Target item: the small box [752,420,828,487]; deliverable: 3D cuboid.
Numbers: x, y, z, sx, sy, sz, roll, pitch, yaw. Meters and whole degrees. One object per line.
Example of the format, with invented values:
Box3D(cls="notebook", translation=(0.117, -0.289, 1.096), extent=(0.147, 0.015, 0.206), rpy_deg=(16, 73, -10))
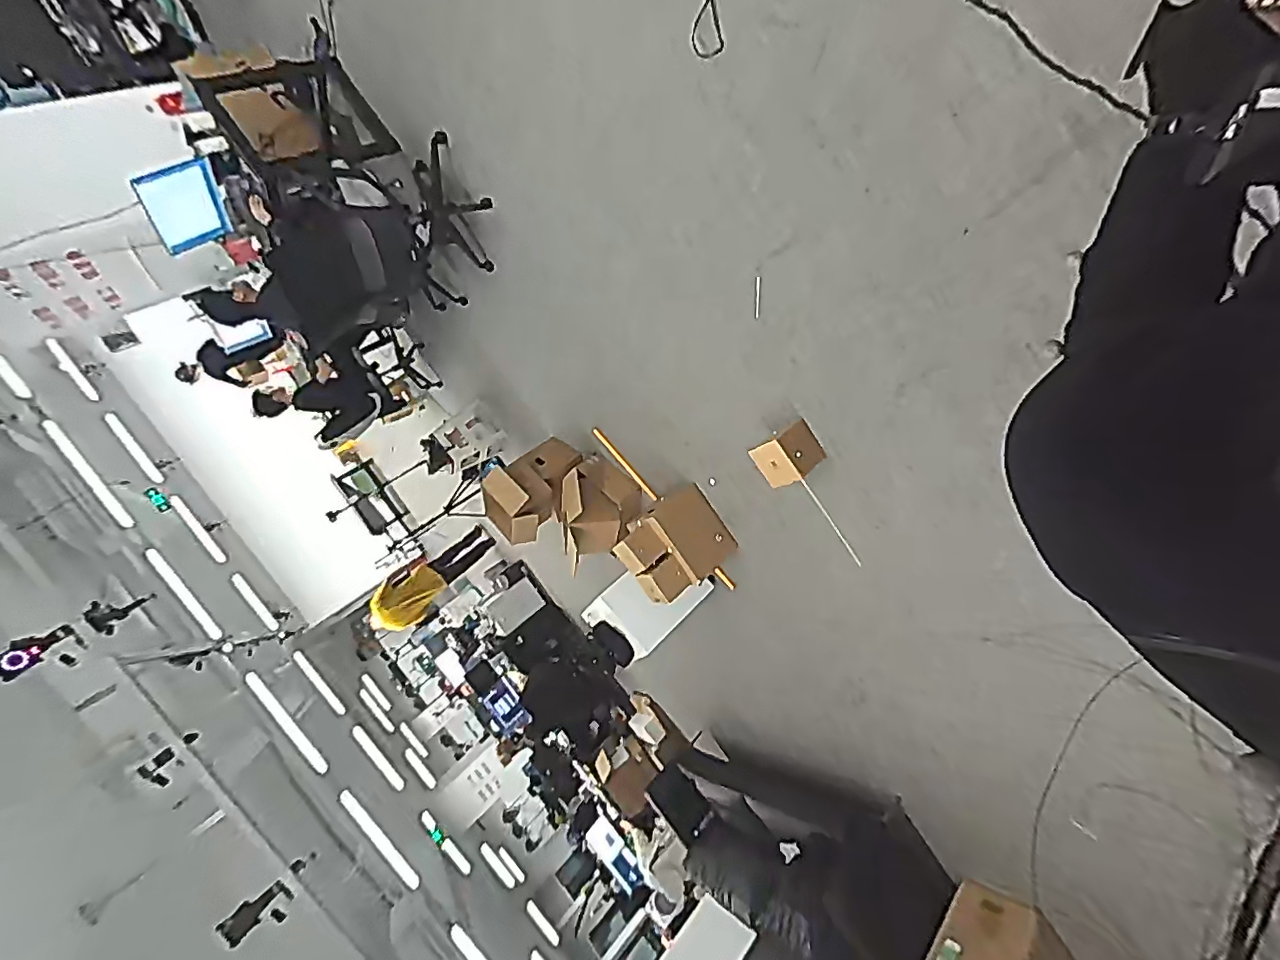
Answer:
Box3D(cls="small box", translation=(0.560, -0.104, 2.009), extent=(0.179, 0.176, 0.168), rpy_deg=(53, 151, -4))
